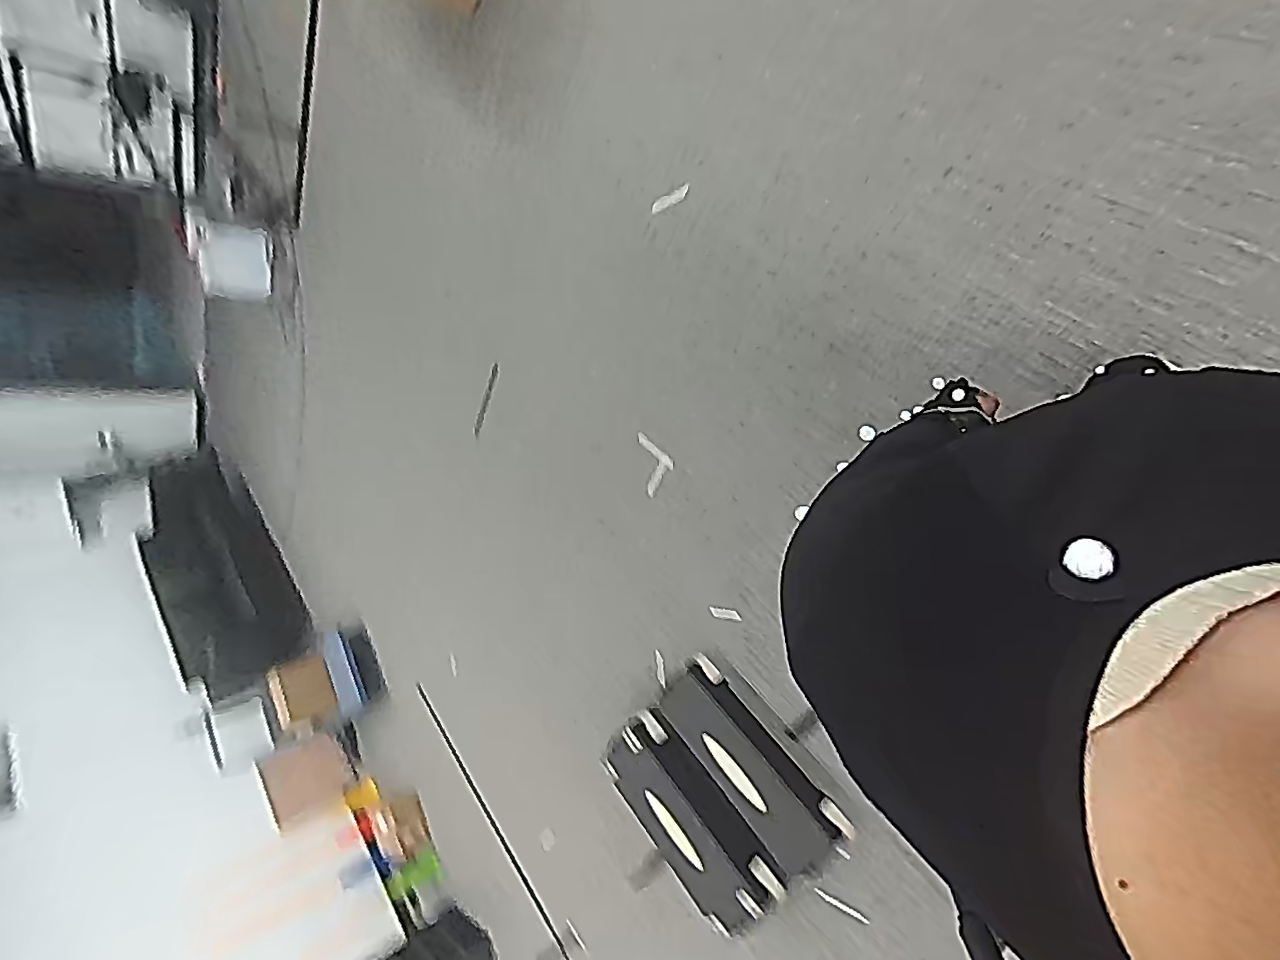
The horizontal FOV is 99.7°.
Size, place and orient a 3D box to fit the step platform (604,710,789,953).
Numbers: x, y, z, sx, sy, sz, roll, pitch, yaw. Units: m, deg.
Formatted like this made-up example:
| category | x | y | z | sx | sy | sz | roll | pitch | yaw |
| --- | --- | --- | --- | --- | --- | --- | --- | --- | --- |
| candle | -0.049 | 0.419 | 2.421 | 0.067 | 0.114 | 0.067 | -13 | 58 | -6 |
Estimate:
| category | x | y | z | sx | sy | sz | roll | pitch | yaw |
| --- | --- | --- | --- | --- | --- | --- | --- | --- | --- |
| step platform | 0.163 | 1.152 | 1.804 | 0.684 | 0.204 | 0.286 | 52 | 126 | 26 |
